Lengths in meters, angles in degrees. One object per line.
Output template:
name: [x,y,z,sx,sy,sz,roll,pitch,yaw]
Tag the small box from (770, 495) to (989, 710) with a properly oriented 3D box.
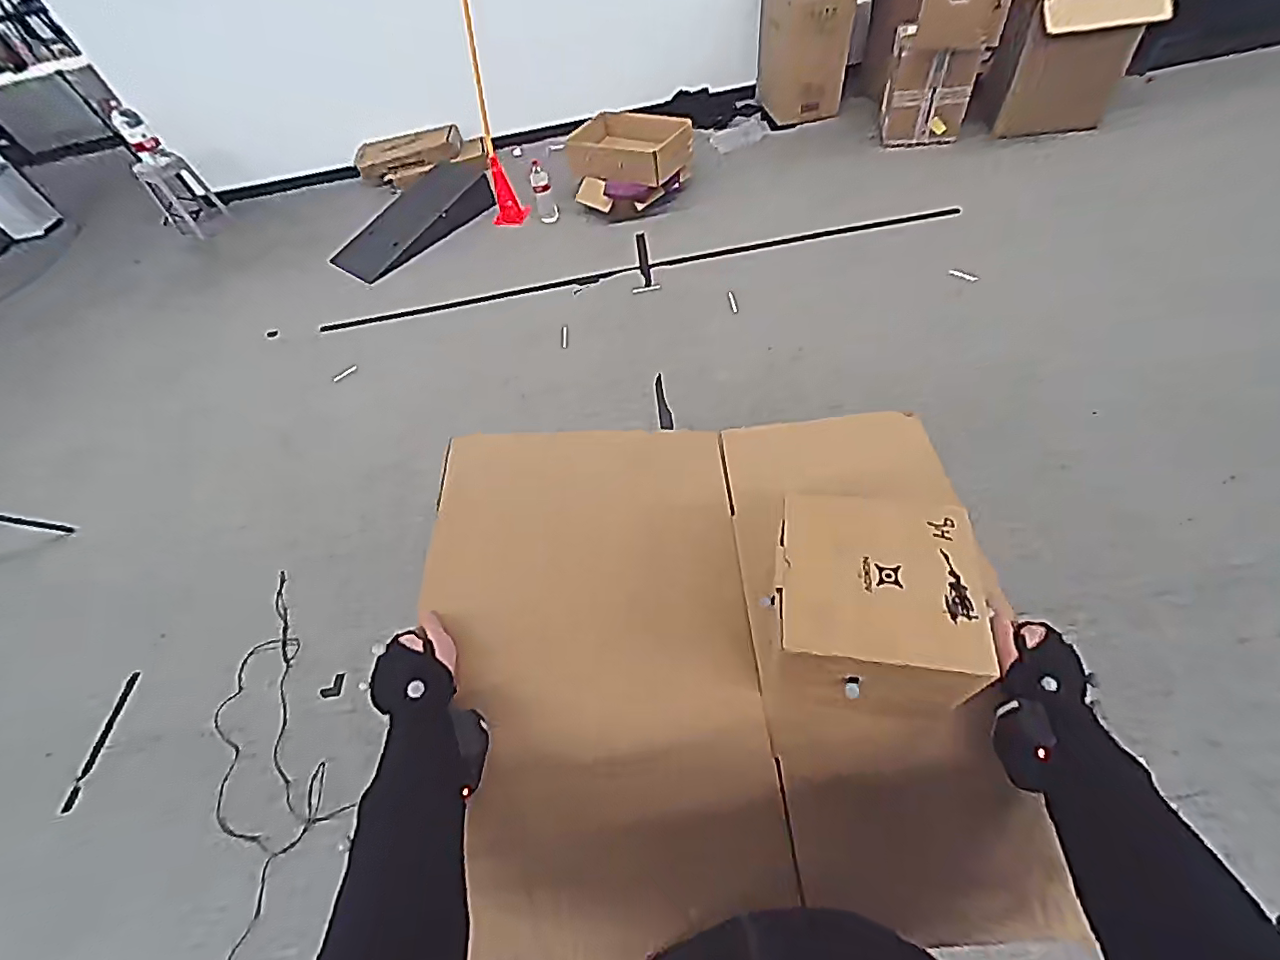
small box: [0.231,0.133,0.572,0.179,0.176,0.168,3,56,13]
